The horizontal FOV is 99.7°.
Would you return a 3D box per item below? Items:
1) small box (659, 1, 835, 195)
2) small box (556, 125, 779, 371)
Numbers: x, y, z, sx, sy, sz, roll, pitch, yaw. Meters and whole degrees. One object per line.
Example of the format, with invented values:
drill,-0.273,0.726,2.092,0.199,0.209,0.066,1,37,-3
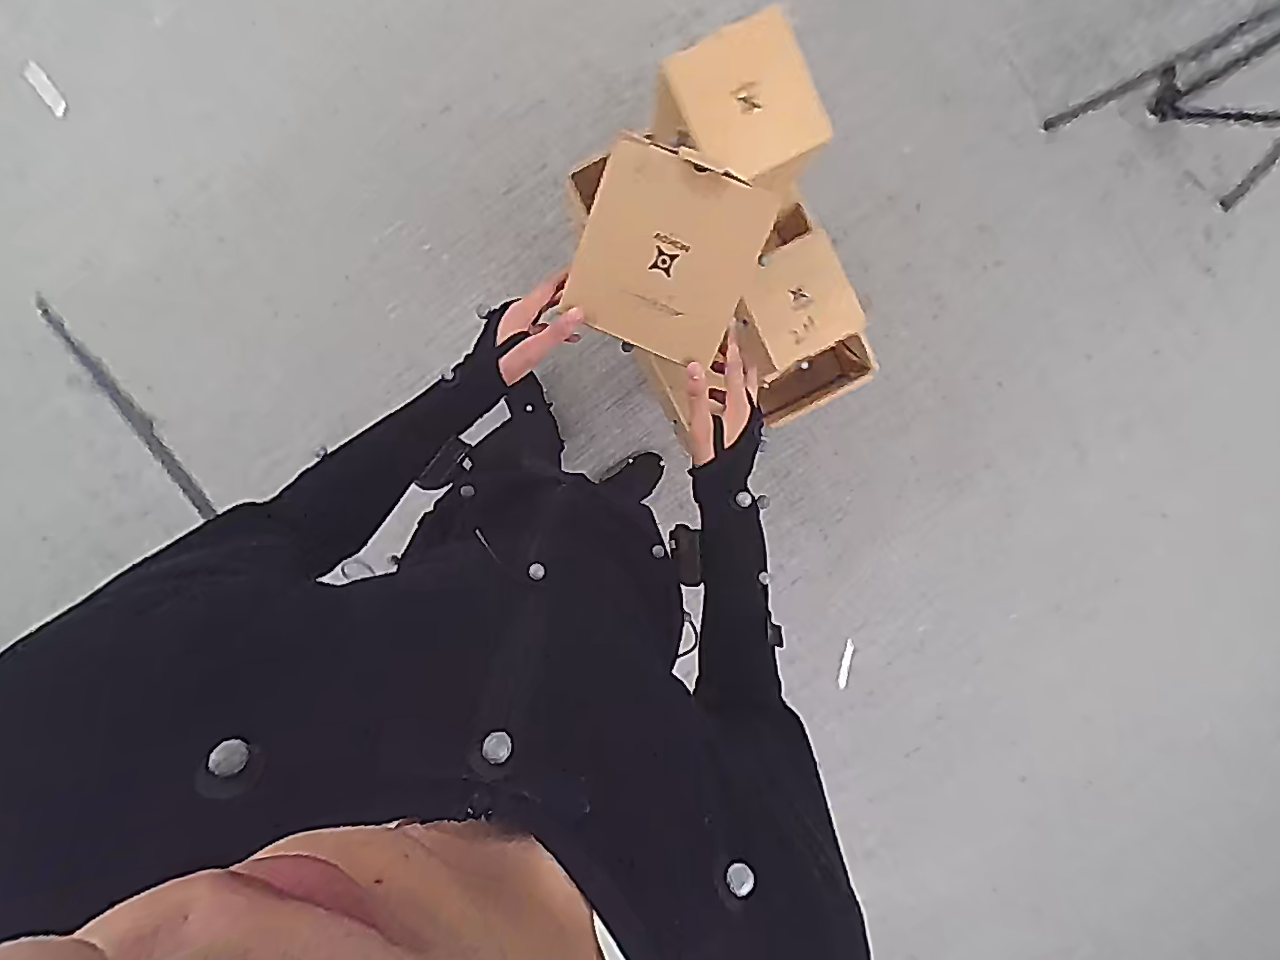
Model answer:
small box,0.138,-0.487,0.754,0.168,0.176,0.179,-26,97,1
small box,0.028,-0.234,0.589,0.168,0.176,0.179,23,105,0
